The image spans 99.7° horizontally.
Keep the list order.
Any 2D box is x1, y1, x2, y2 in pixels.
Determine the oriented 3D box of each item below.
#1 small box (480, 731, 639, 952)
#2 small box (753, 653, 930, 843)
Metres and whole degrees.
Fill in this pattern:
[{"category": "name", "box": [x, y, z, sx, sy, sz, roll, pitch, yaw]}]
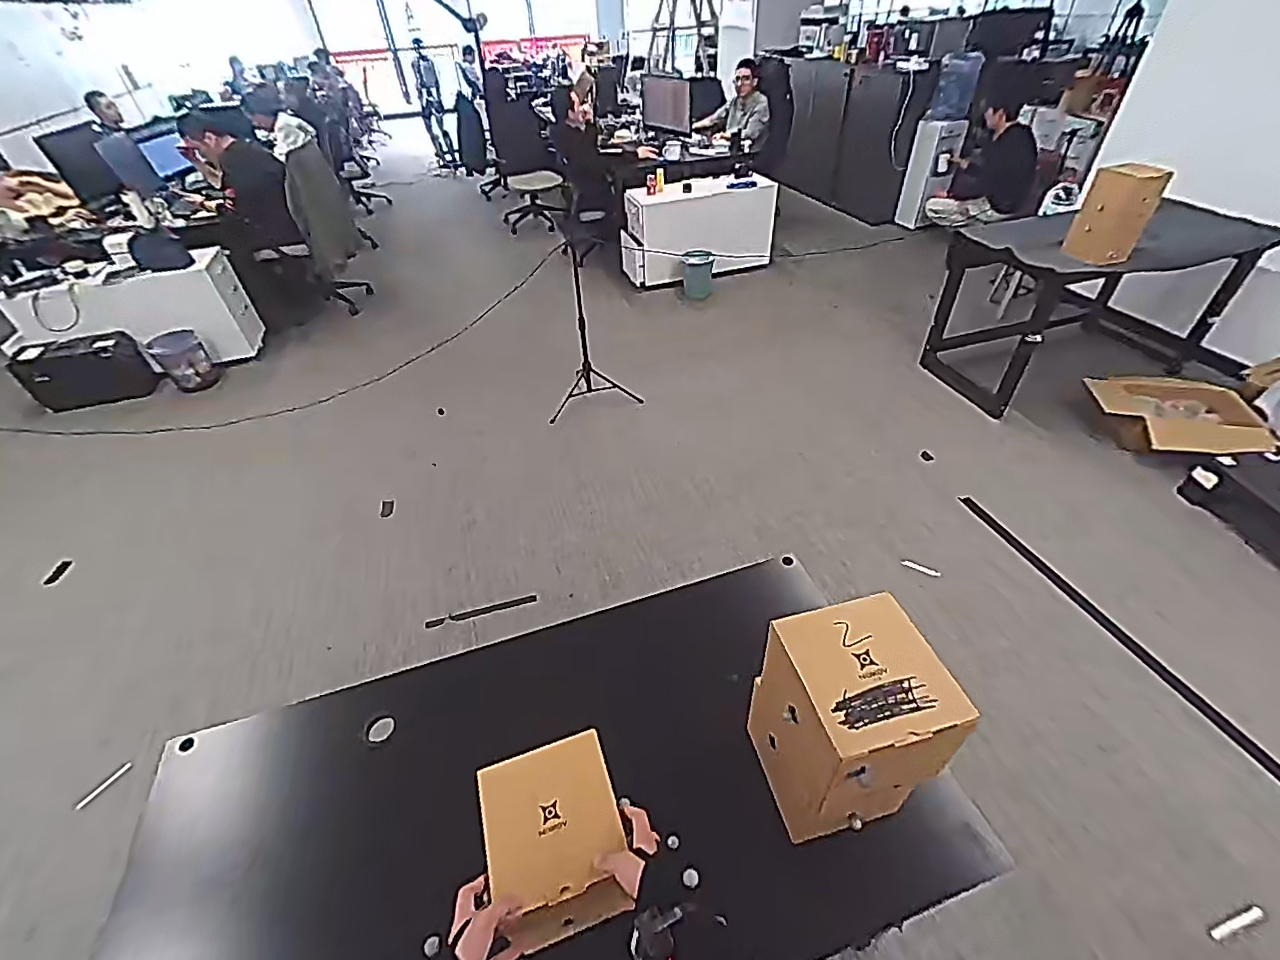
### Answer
[{"category": "small box", "box": [-0.105, 0.477, 0.718, 0.168, 0.176, 0.179, -15, 43, -12]}, {"category": "small box", "box": [0.274, 0.388, 0.786, 0.168, 0.176, 0.179, -12, 42, -7]}]
